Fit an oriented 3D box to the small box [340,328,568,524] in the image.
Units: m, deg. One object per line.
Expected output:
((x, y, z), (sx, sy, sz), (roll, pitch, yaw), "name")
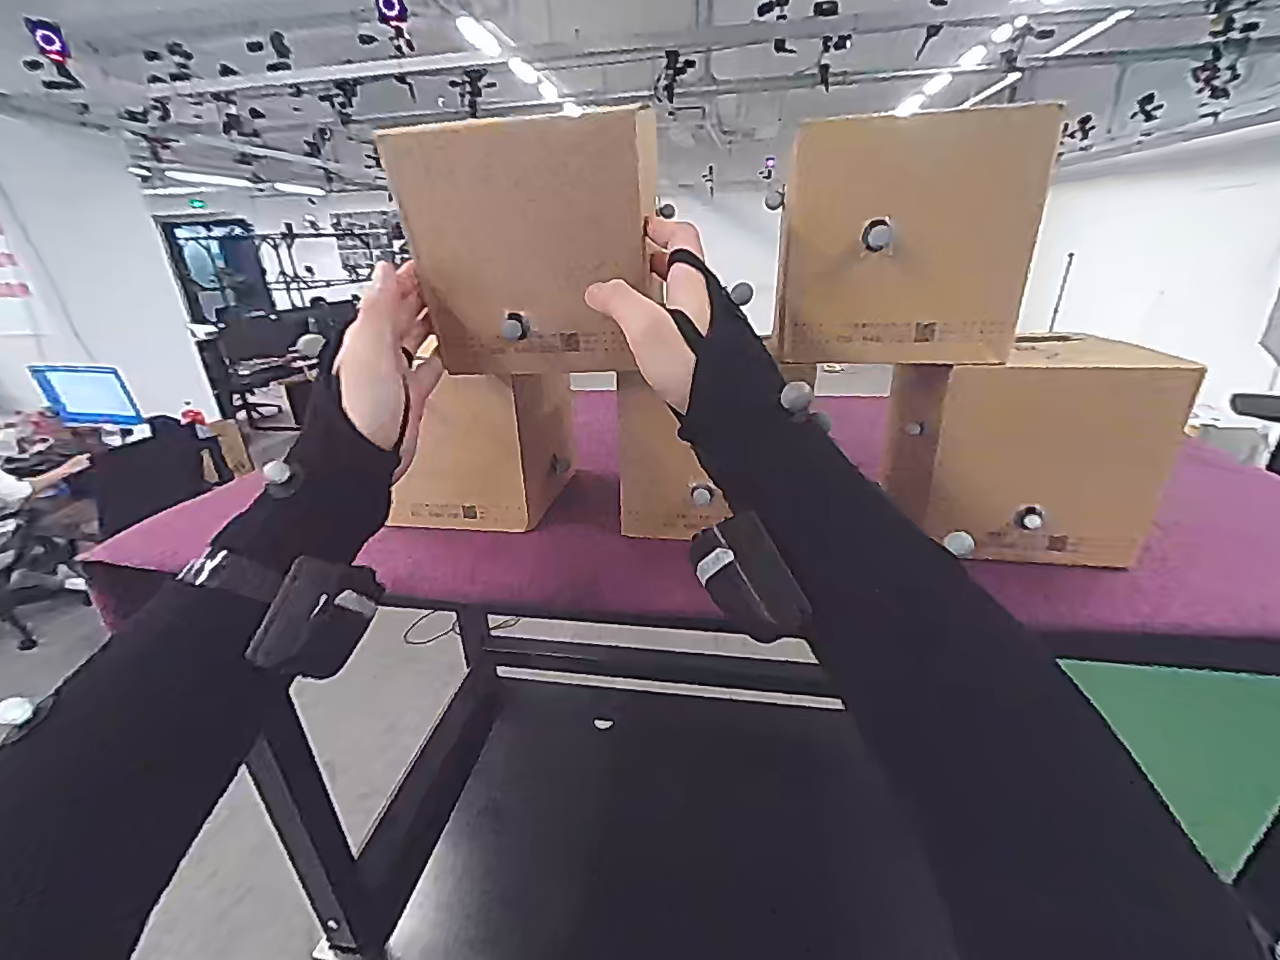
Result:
((-0.179, -0.068, 0.582), (0.168, 0.176, 0.179), (2, 22, 9), "small box")

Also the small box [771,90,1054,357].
((0.201, -0.201, 0.458), (0.168, 0.176, 0.179), (3, 23, 10), "small box")

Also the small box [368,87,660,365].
((-0.073, -0.203, 0.432), (0.168, 0.176, 0.179), (-1, 36, 7), "small box")
